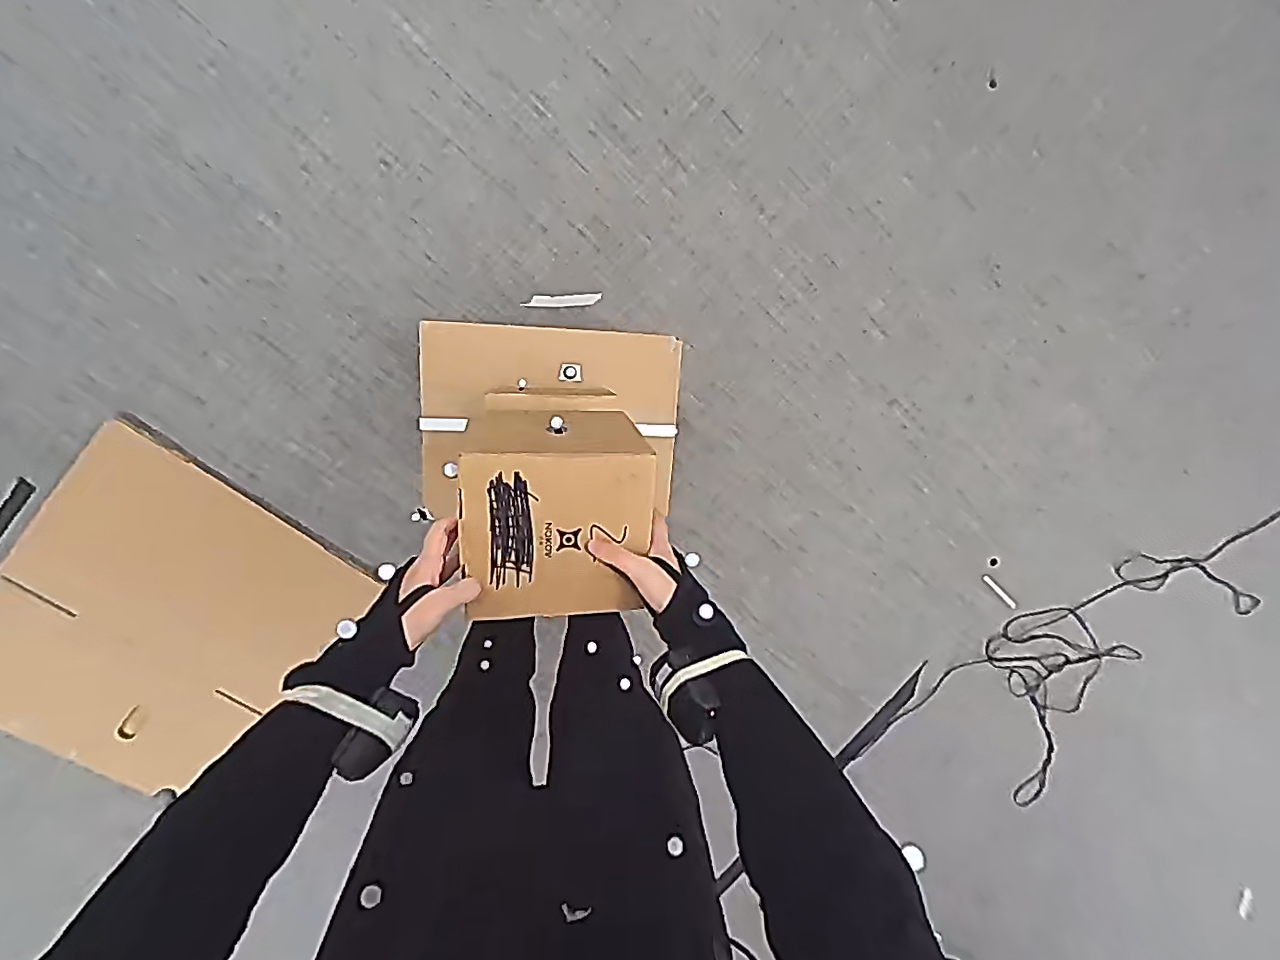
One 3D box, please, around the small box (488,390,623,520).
[{"bbox_3d":[-0.121,-0.043,0.793,0.179,0.176,0.168,-2,103,-9],"label":"small box"}]
